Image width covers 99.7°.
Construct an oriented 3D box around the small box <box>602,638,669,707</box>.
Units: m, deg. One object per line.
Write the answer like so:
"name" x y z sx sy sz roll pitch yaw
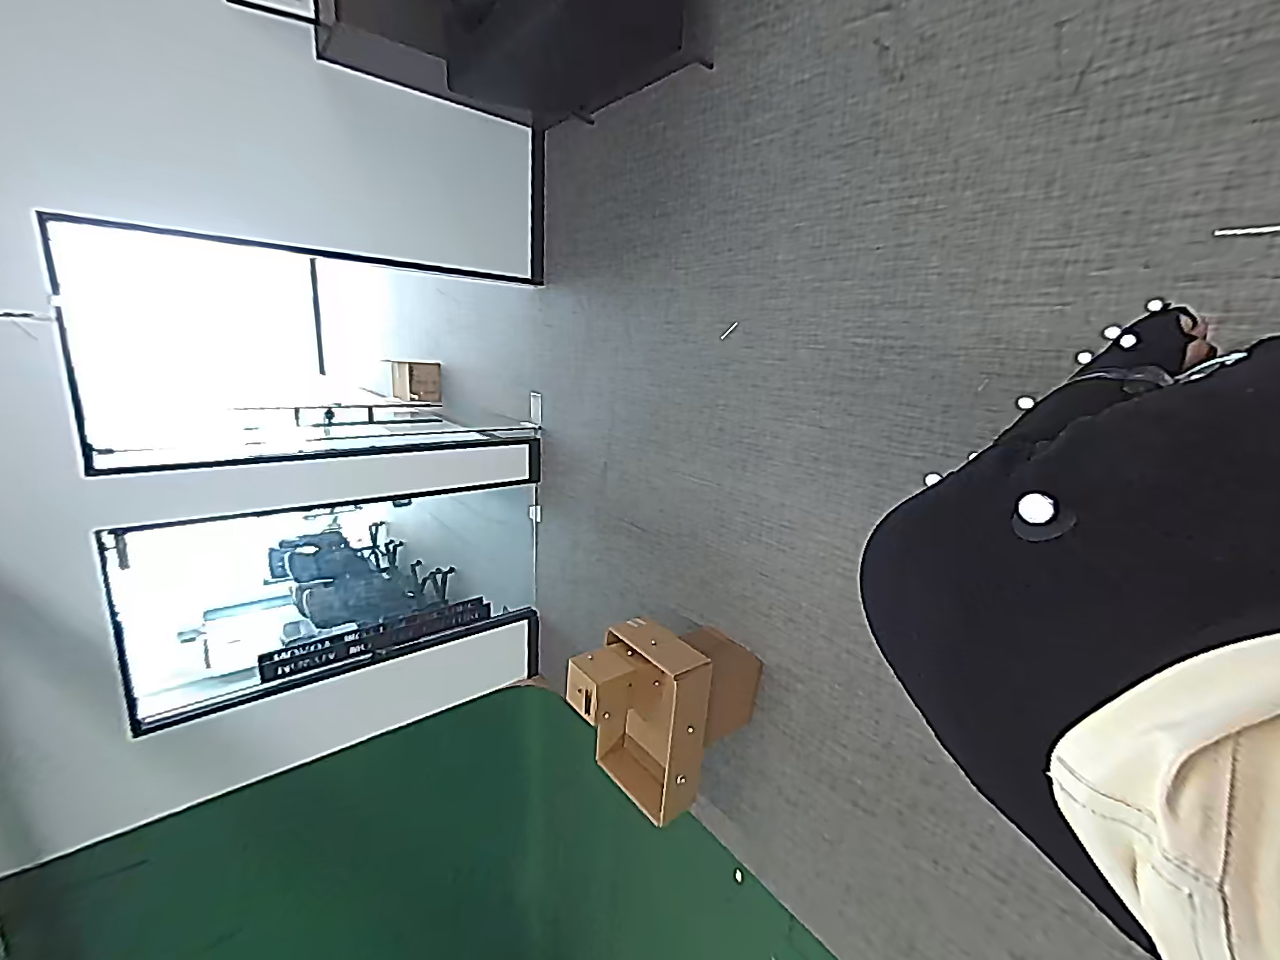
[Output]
"small box" -0.019 0.710 2.024 0.179 0.176 0.168 21 111 46
